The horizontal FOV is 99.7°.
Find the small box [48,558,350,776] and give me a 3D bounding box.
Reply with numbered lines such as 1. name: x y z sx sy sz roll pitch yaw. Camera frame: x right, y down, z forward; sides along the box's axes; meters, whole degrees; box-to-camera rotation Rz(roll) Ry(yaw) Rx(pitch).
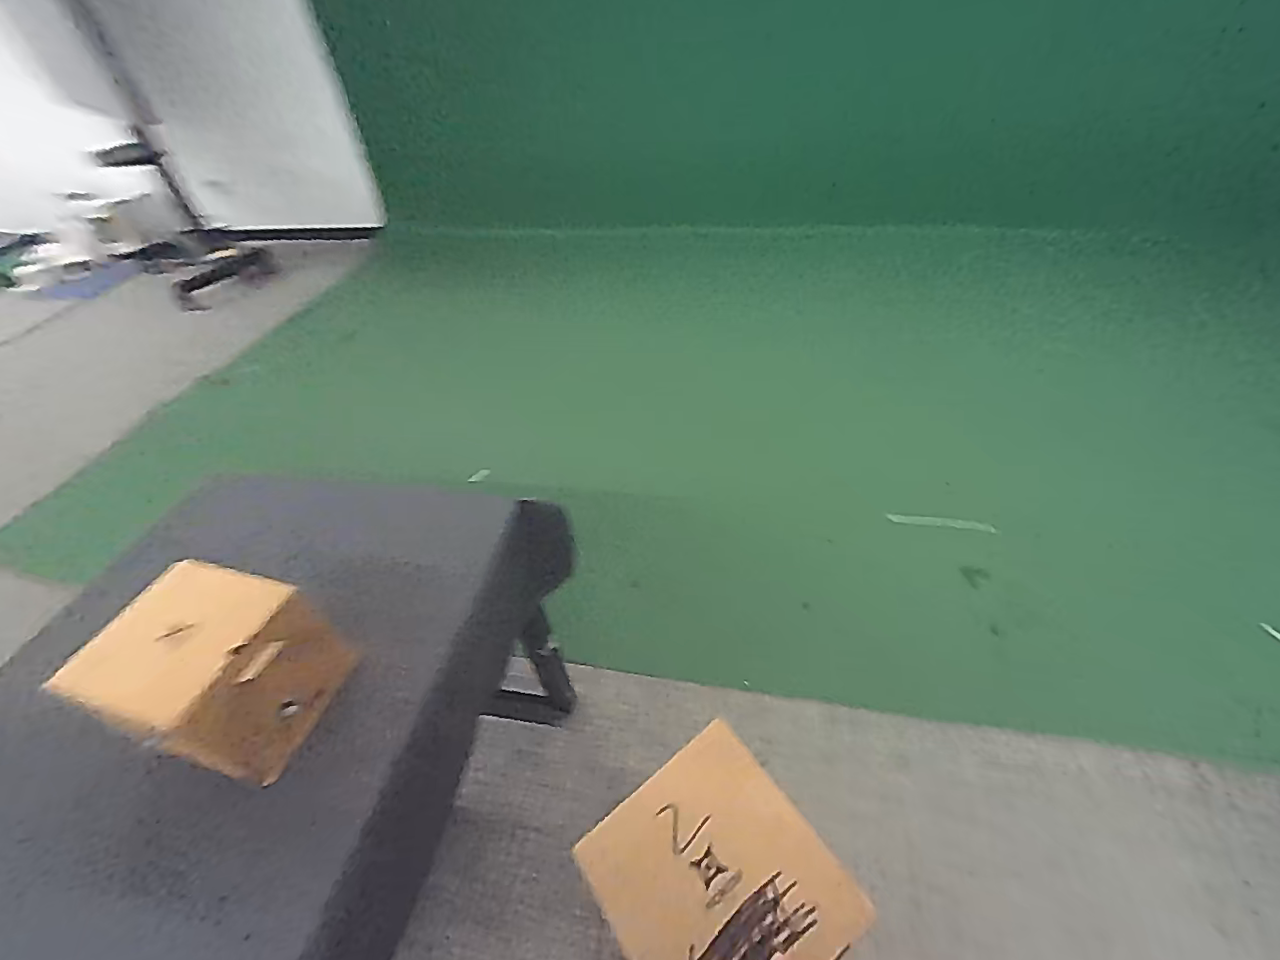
1. small box: -0.489 0.218 0.632 0.179 0.176 0.168 8 46 14
